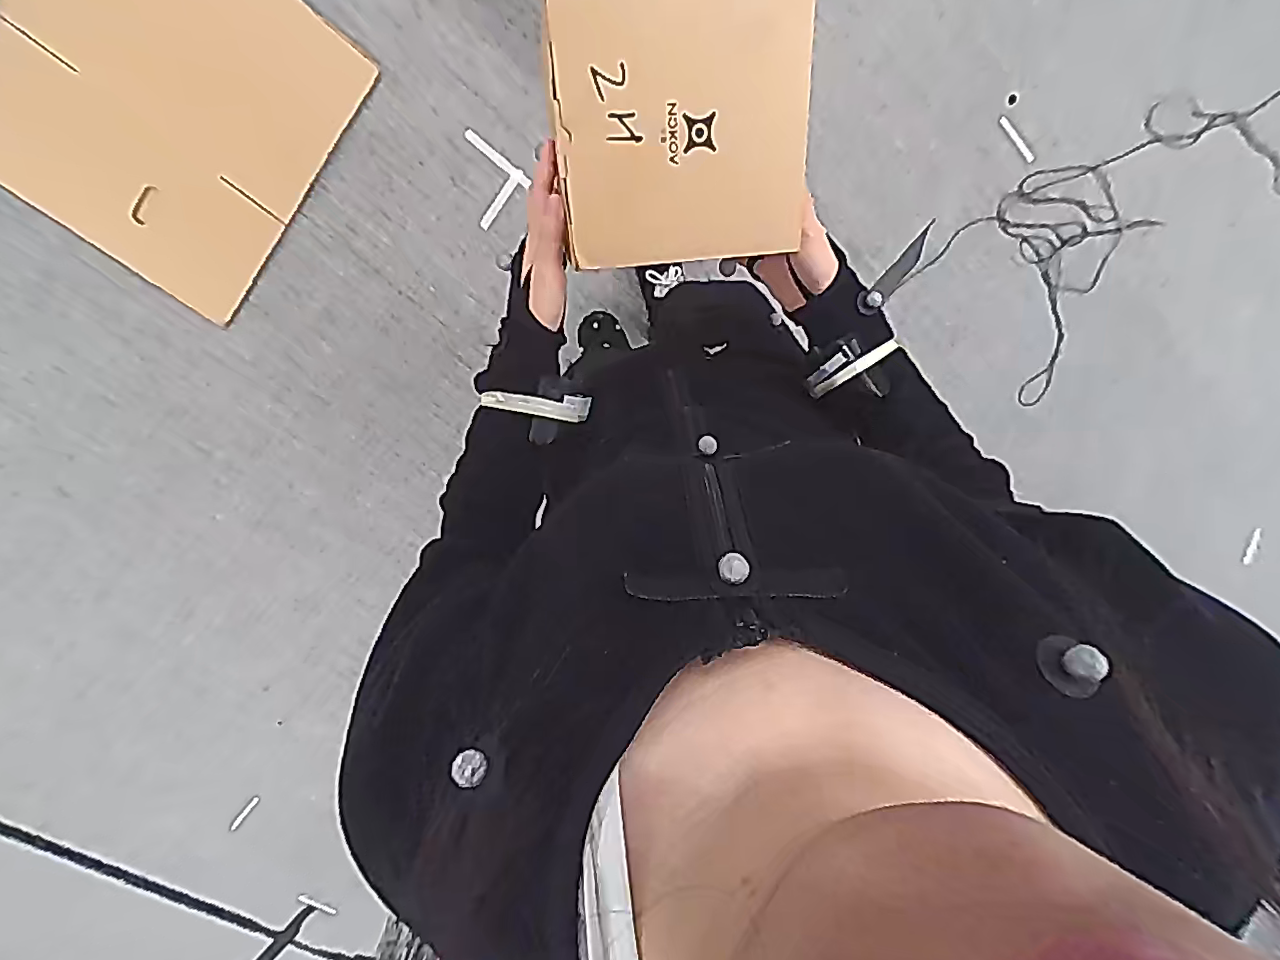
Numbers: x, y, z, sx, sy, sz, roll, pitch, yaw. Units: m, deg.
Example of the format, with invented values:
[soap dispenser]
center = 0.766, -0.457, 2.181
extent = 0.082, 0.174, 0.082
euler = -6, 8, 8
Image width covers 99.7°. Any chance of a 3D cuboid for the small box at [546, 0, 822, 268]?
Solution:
[small box]
center = 0.022, -0.272, 0.436
extent = 0.179, 0.176, 0.168
euler = -8, 116, -6
